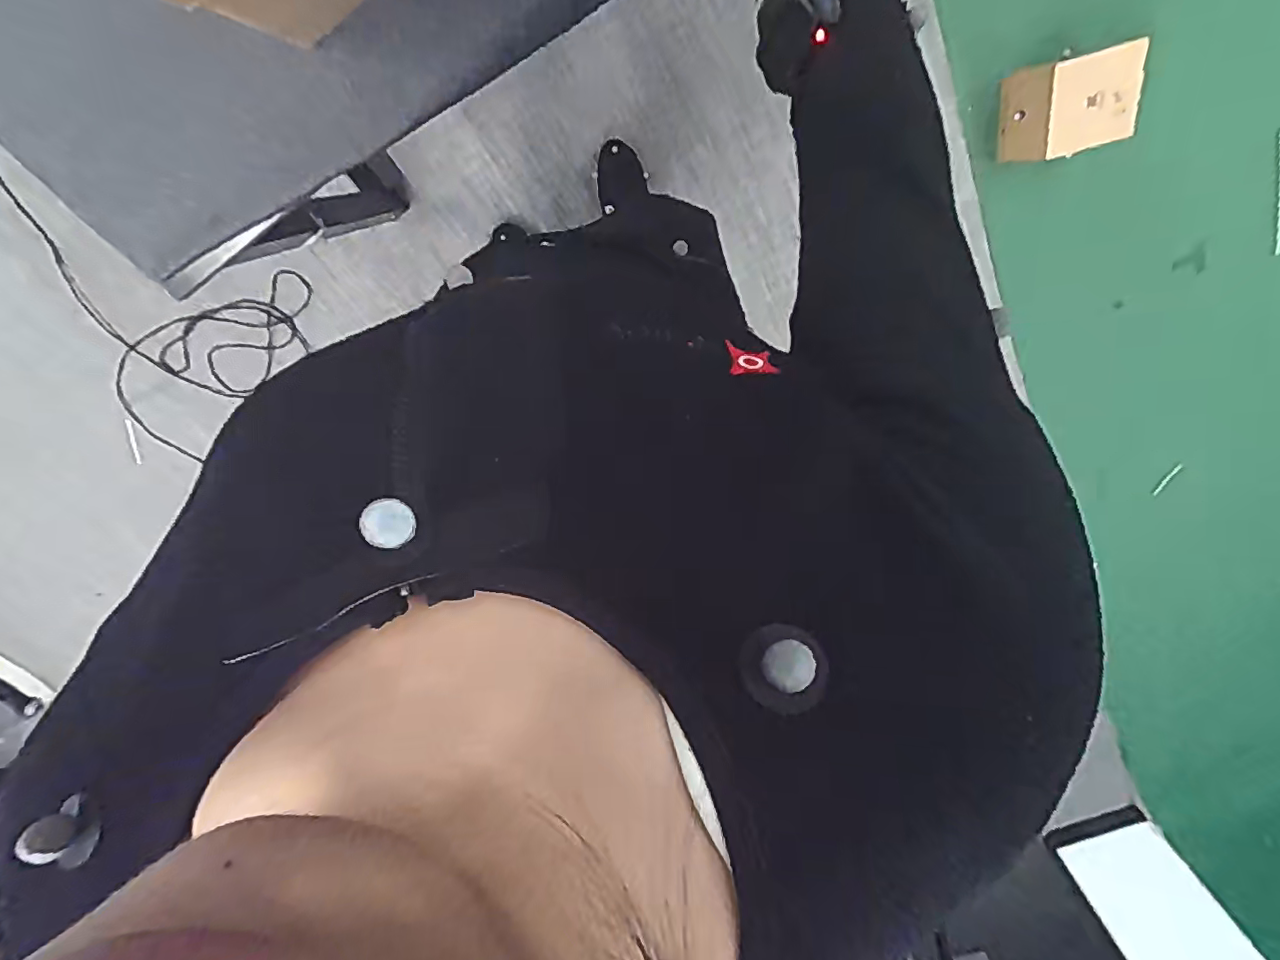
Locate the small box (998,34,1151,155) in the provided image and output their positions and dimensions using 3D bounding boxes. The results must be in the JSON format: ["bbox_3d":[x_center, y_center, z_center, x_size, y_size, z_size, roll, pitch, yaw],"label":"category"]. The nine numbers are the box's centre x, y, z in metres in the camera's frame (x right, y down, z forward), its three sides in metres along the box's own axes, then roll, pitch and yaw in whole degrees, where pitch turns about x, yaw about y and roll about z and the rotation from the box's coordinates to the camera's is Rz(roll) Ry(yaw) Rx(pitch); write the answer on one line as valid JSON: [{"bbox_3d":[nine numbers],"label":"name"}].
[{"bbox_3d":[0.886,-0.789,1.125,0.179,0.176,0.168,-14,122,5],"label":"small box"}]

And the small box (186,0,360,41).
[{"bbox_3d":[-0.285,-0.472,0.395,0.179,0.176,0.168,-27,118,13],"label":"small box"}]
